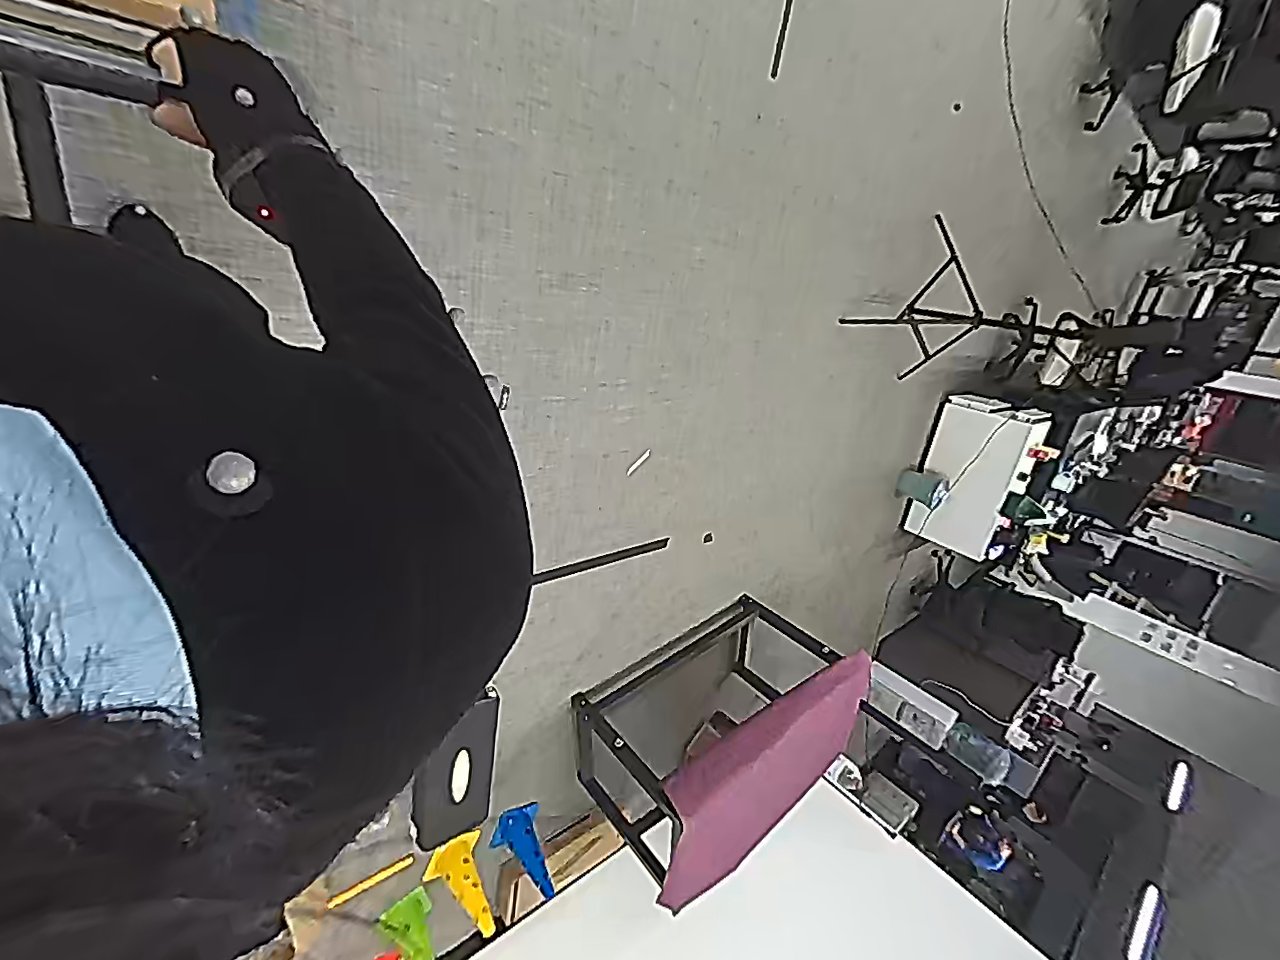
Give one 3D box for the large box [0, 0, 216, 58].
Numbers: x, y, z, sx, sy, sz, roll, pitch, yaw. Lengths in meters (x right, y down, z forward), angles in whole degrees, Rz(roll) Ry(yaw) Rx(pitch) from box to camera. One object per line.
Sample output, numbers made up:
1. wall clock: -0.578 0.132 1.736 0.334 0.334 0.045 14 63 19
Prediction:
1. large box: -0.780 -0.752 0.623 0.408 0.320 0.320 -11 122 -41
